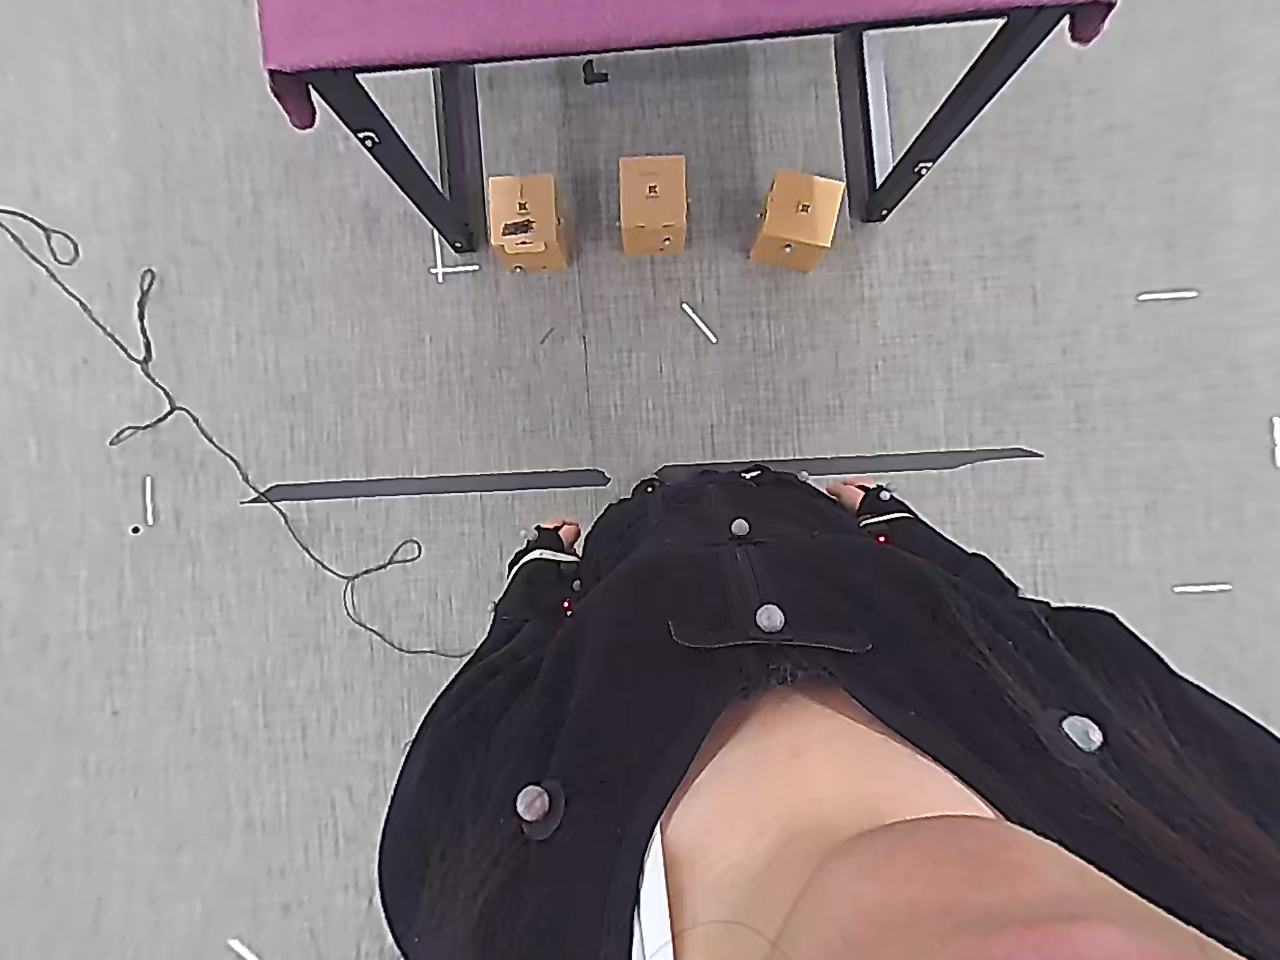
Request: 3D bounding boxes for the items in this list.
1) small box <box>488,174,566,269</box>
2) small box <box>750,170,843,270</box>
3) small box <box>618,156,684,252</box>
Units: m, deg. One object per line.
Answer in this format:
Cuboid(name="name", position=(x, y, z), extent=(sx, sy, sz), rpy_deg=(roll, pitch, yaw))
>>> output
Cuboid(name="small box", position=(-0.292, -0.669, 1.422), extent=(0.168, 0.176, 0.179), rpy_deg=(-3, 89, 1))
Cuboid(name="small box", position=(0.400, -0.670, 1.412), extent=(0.179, 0.176, 0.168), rpy_deg=(13, 91, 2))
Cuboid(name="small box", position=(0.030, -0.713, 1.418), extent=(0.168, 0.176, 0.179), rpy_deg=(-2, 89, 0))
